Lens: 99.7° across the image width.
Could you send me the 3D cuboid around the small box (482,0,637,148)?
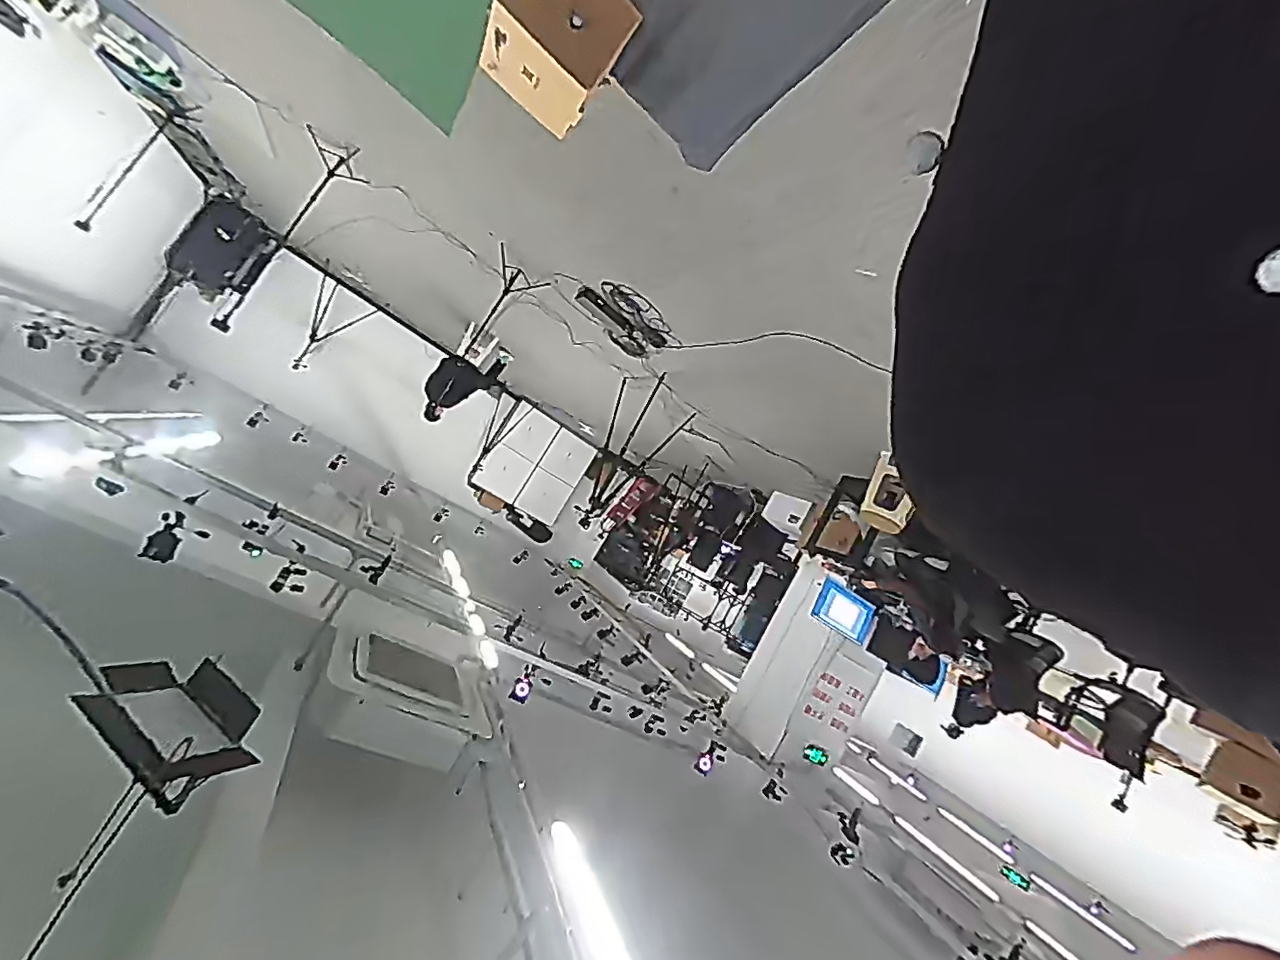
[{"bbox_3d":[-0.133,-0.713,0.899,0.179,0.176,0.168,33,171,-23],"label":"small box"}]
